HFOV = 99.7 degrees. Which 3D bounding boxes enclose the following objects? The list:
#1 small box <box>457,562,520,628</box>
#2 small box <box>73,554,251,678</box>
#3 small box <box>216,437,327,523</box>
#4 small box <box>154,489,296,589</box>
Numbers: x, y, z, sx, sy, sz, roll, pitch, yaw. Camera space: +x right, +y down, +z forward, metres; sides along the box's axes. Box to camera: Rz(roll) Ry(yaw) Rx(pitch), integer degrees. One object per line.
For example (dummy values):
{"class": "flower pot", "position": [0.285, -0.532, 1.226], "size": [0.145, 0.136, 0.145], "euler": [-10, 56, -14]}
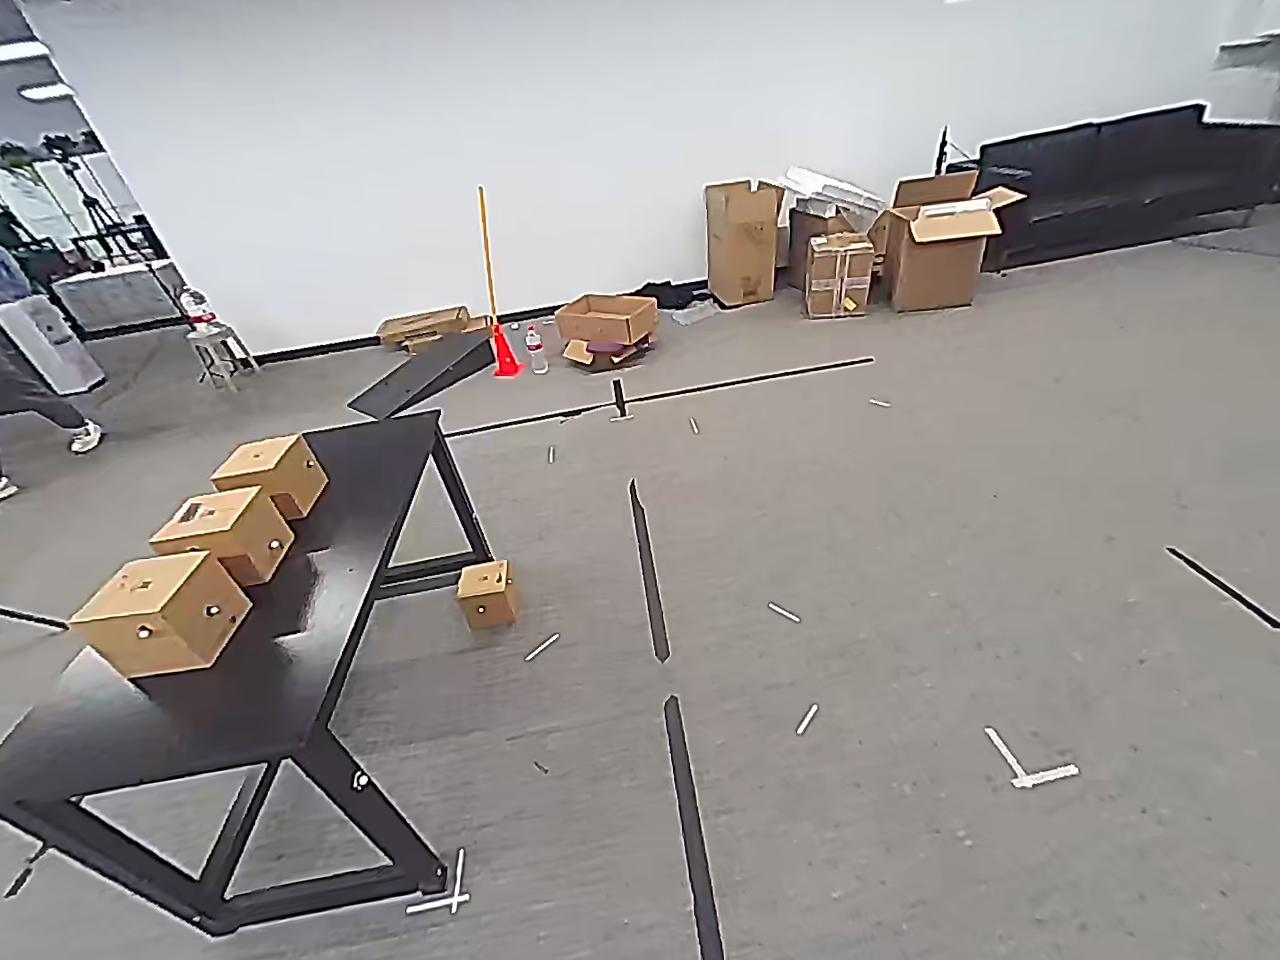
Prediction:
{"class": "small box", "position": [-0.567, 0.438, 2.043], "size": [0.179, 0.176, 0.168], "euler": [-11, 36, -2]}
{"class": "small box", "position": [-0.947, 0.275, 1.096], "size": [0.179, 0.176, 0.168], "euler": [-9, 35, 2]}
{"class": "small box", "position": [-0.995, 0.008, 1.483], "size": [0.168, 0.176, 0.179], "euler": [-12, 36, -1]}
{"class": "small box", "position": [-0.967, 0.147, 1.279], "size": [0.179, 0.176, 0.168], "euler": [-10, 35, -3]}
